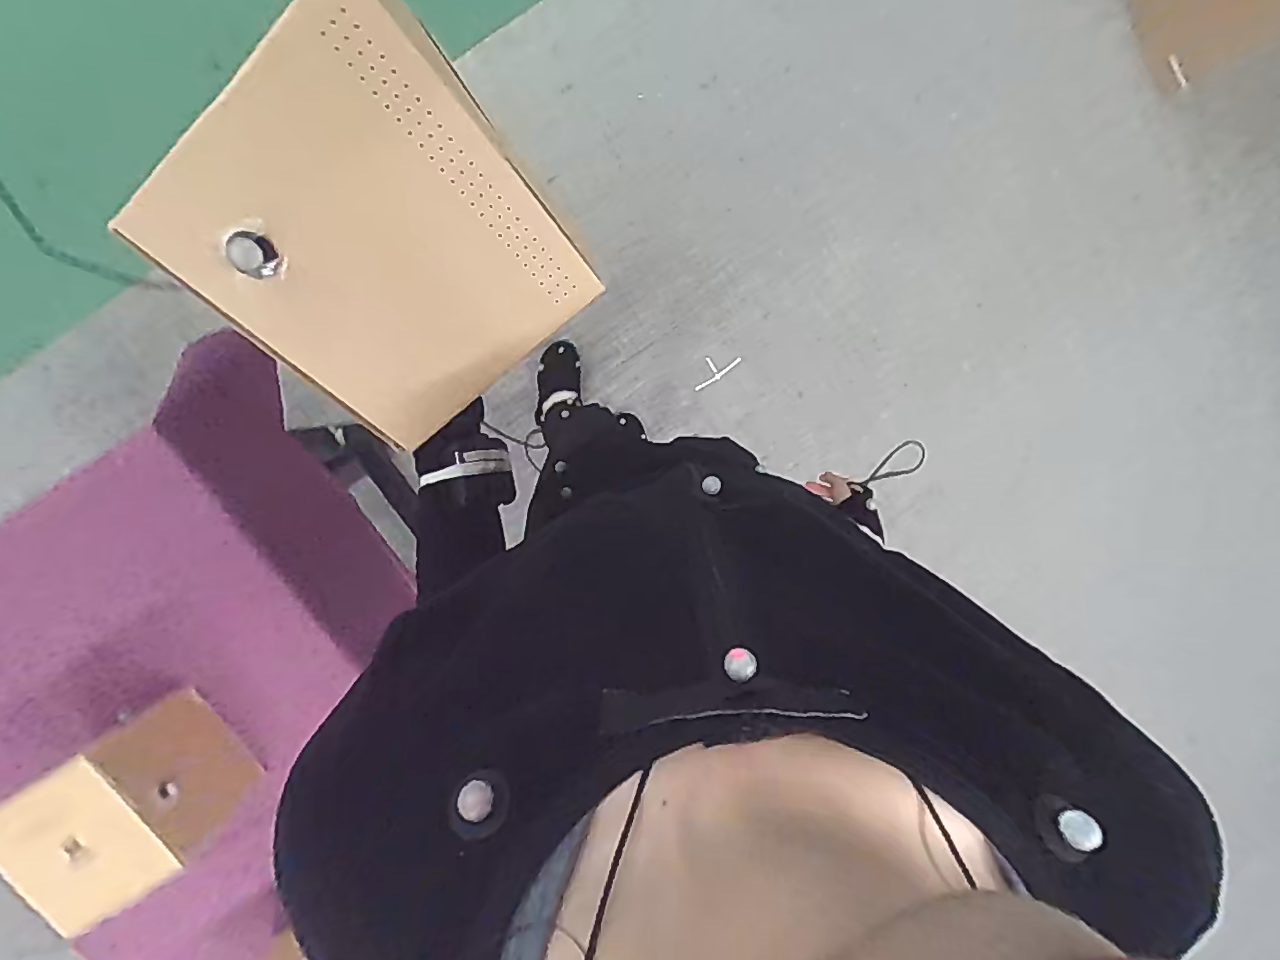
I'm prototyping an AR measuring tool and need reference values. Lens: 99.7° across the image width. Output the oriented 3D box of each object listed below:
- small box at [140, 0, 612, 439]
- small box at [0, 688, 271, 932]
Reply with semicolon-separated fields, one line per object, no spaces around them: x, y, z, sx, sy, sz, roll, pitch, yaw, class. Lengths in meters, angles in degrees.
-0.143;-0.168;0.353;0.176;0.168;0.179;-35;124;14;small box
-0.639;0.413;0.704;0.168;0.176;0.179;-32;98;1;small box
